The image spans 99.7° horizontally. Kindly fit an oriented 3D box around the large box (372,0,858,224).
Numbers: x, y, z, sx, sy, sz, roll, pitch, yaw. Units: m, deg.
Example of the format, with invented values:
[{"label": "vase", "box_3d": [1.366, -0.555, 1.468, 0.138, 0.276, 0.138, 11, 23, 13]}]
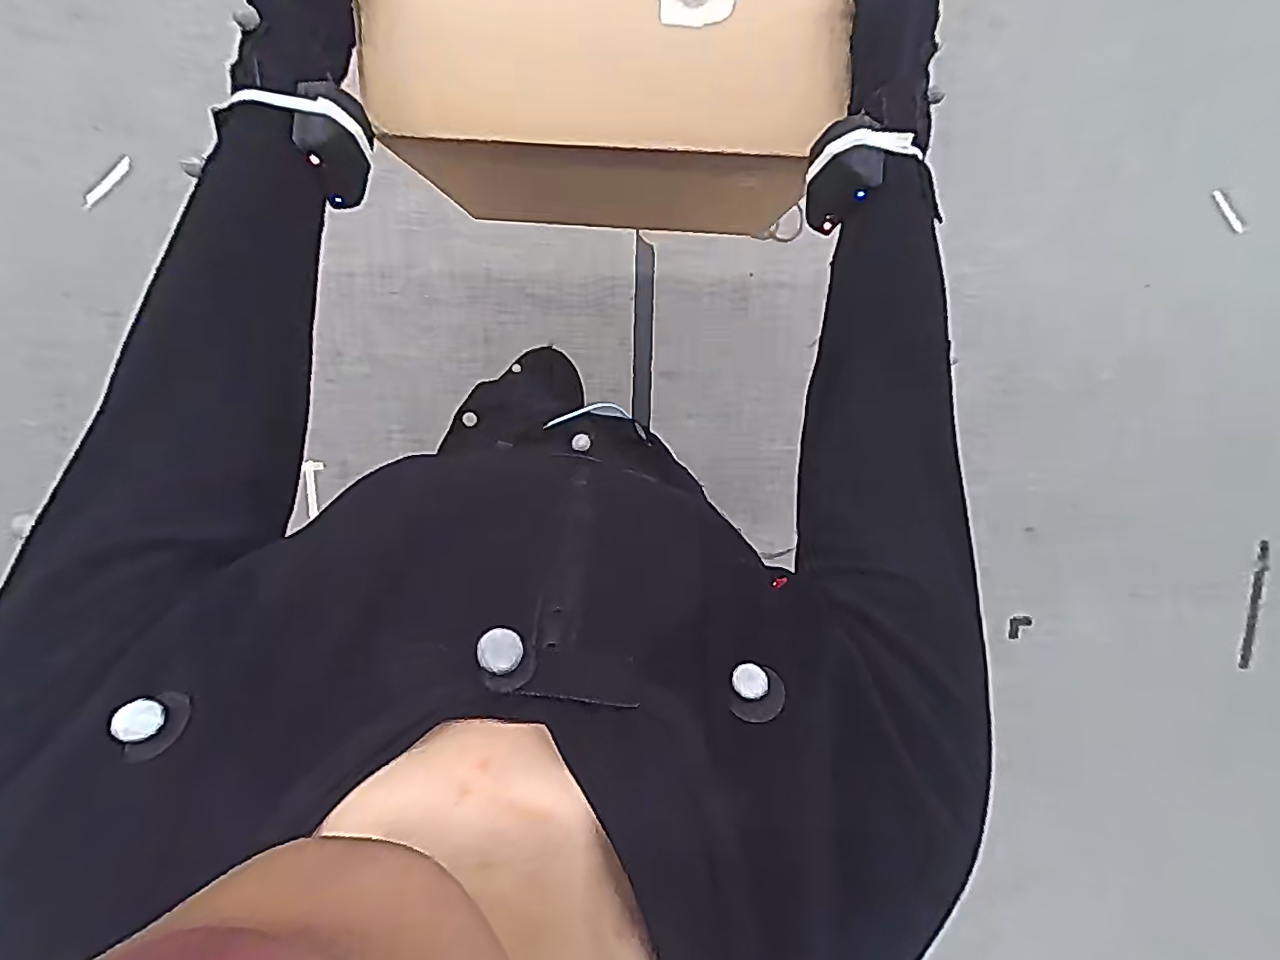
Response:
[{"label": "large box", "box_3d": [-0.020, -0.477, 0.572, 0.408, 0.320, 0.320, 3, 104, -2]}]
